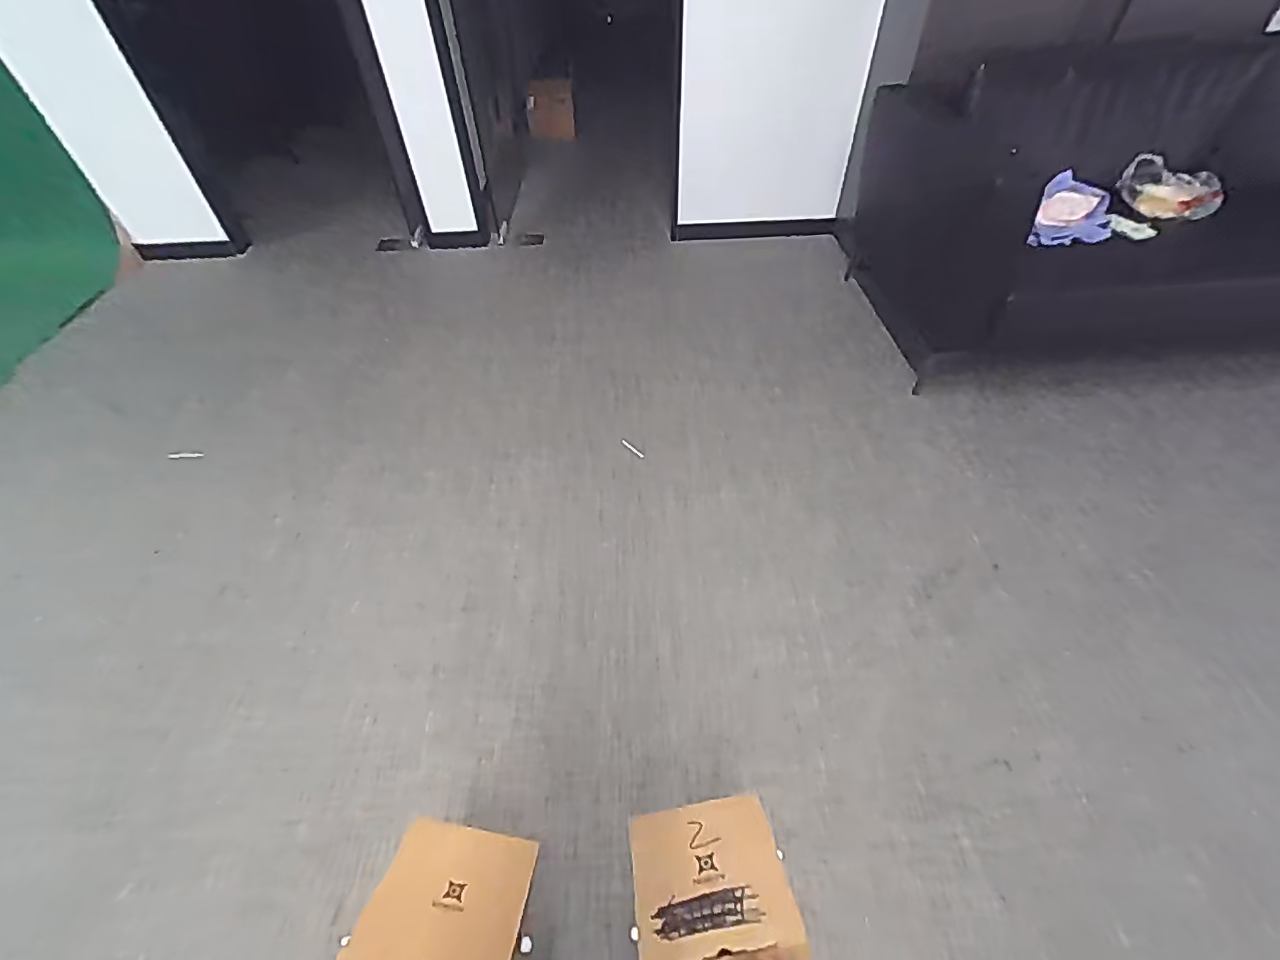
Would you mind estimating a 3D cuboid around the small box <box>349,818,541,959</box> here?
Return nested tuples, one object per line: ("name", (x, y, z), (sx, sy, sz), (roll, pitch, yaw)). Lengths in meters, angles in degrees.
("small box", (-0.229, 0.554, 0.638), (0.168, 0.176, 0.179), (13, 13, 0))
